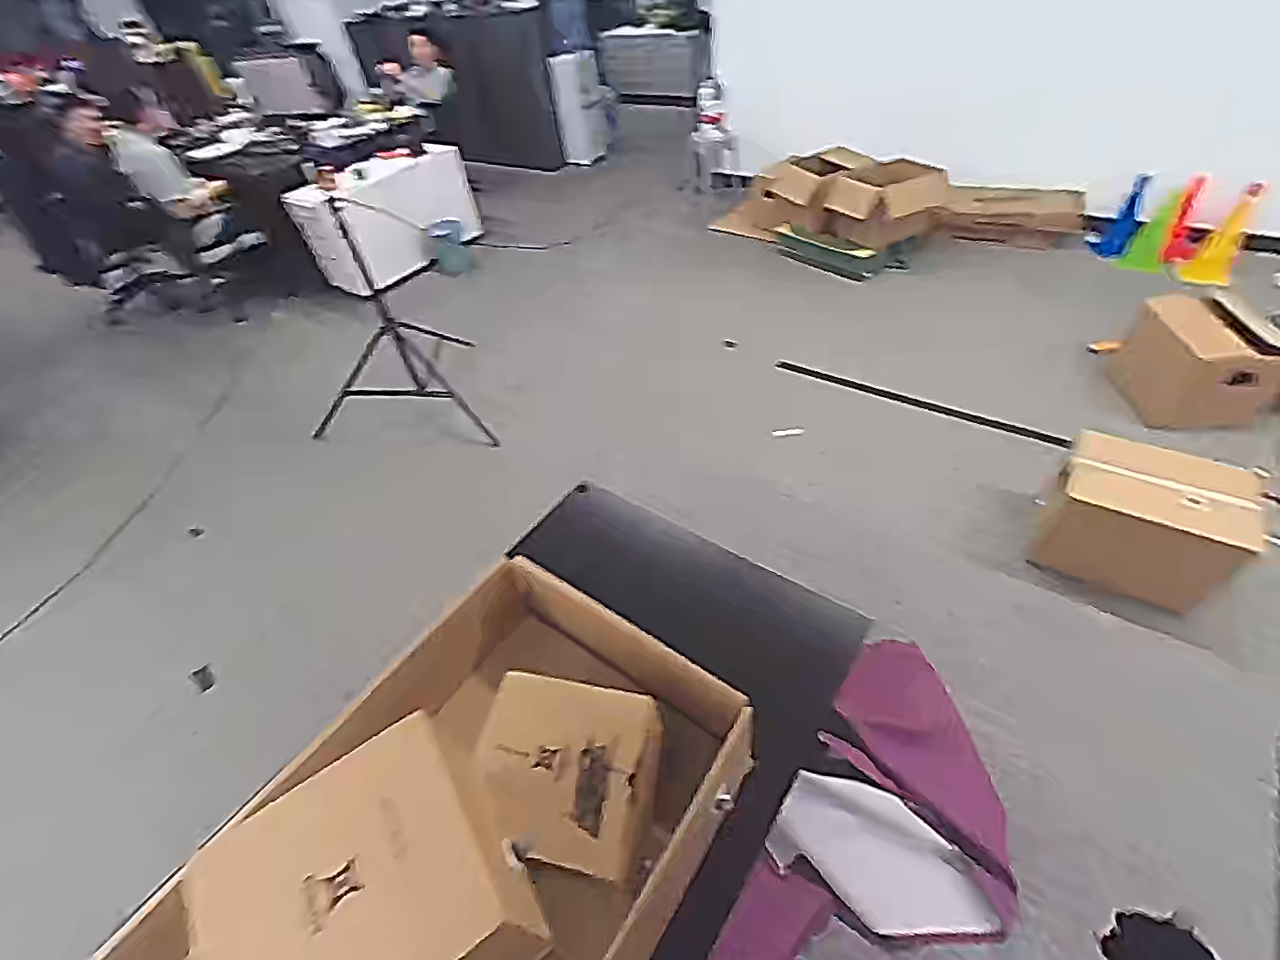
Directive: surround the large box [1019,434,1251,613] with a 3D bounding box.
[{"bbox_3d":[1.412,0.120,1.587,0.408,0.320,0.320,22,54,26],"label":"large box"}]
